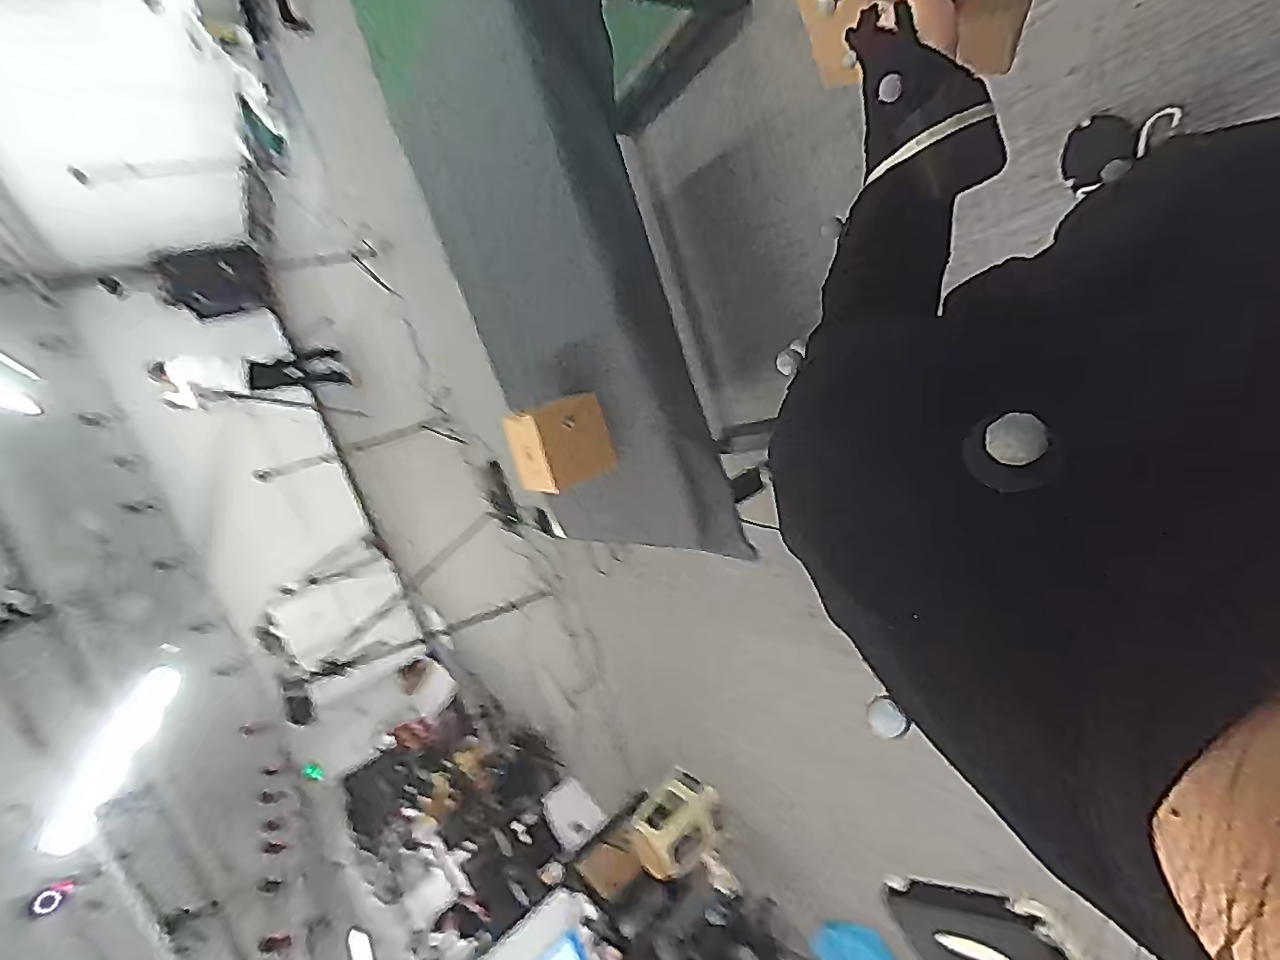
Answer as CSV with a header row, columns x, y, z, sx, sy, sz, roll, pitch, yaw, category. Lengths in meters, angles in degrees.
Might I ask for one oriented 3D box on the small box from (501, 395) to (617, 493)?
x,y,z,sx,sy,sz,roll,pitch,yaw,category
-0.177,-0.085,1.205,0.168,0.176,0.179,3,115,54,small box
